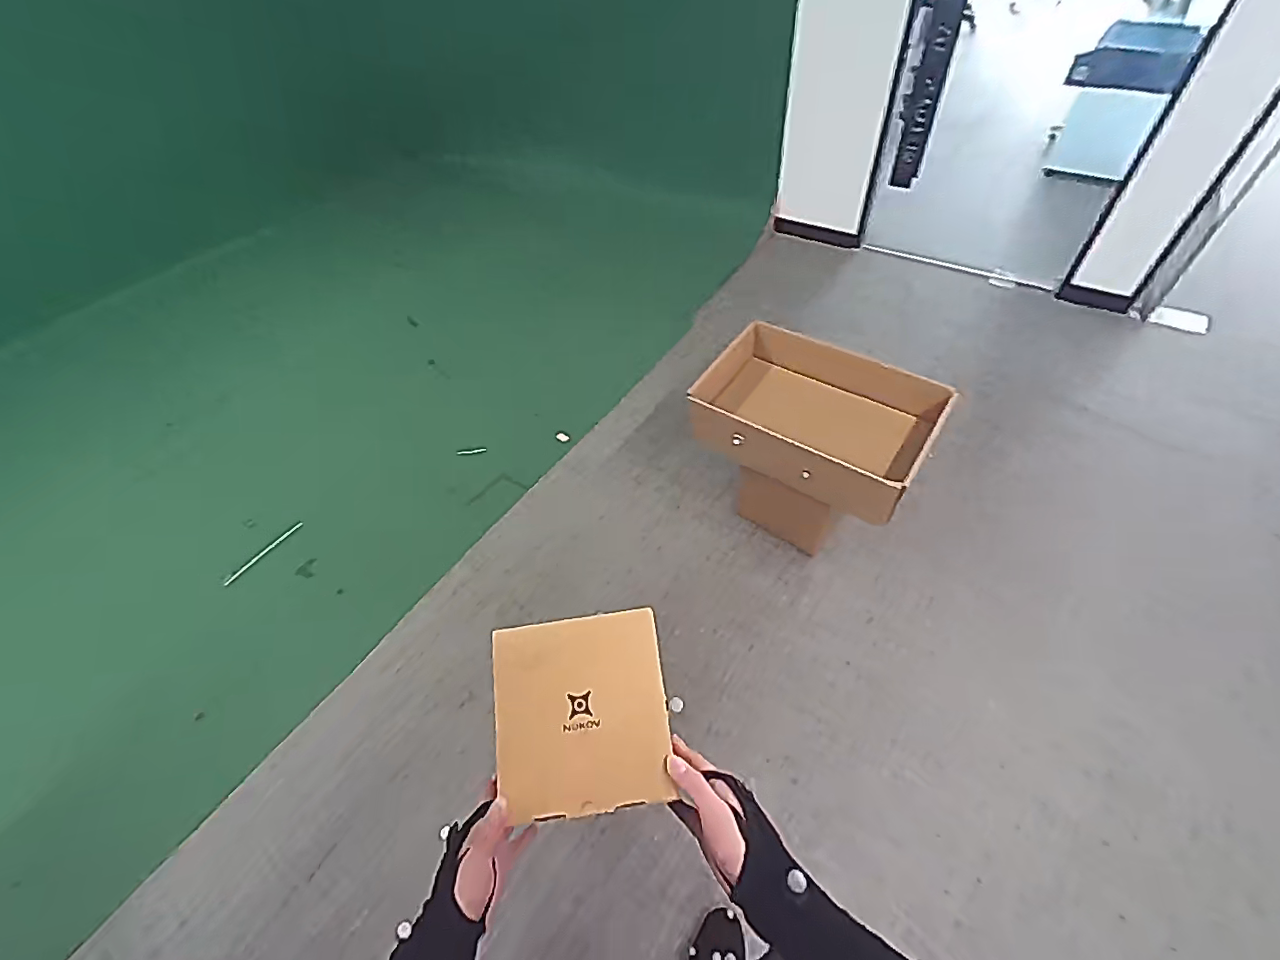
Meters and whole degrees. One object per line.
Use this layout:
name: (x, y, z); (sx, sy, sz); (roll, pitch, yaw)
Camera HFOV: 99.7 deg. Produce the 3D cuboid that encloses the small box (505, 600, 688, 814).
small box: (-0.046, 0.242, 0.595); (0.168, 0.176, 0.179); (-8, 69, -1)
